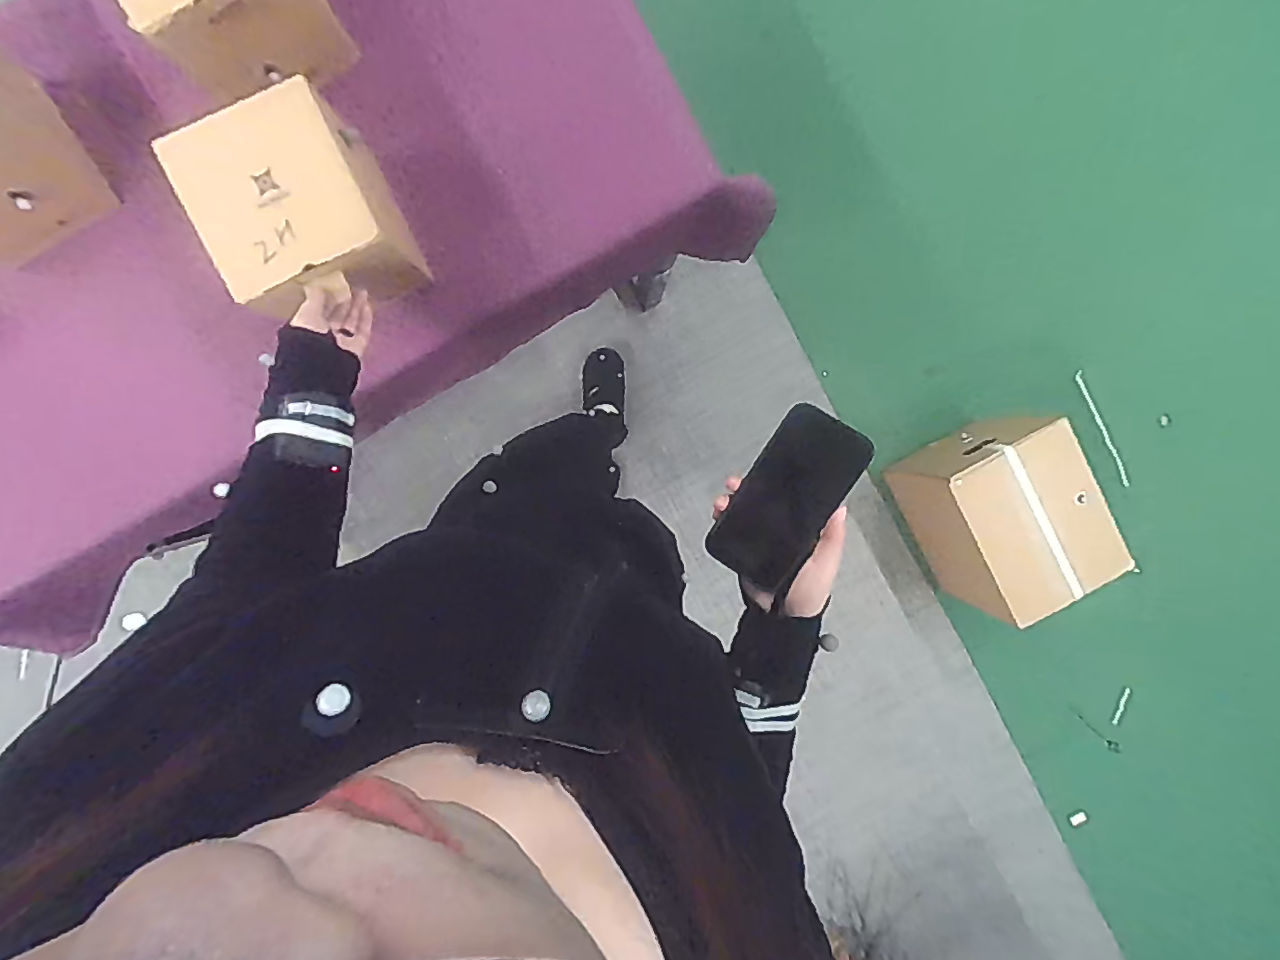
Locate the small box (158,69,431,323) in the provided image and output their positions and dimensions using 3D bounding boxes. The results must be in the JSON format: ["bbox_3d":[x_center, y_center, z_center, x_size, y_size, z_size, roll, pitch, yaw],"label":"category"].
[{"bbox_3d":[-0.373,-0.305,0.622,0.168,0.176,0.179,-25,97,0],"label":"small box"}]

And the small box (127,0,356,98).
[{"bbox_3d":[-0.460,-0.562,0.592,0.168,0.176,0.179,-32,97,1],"label":"small box"}]
